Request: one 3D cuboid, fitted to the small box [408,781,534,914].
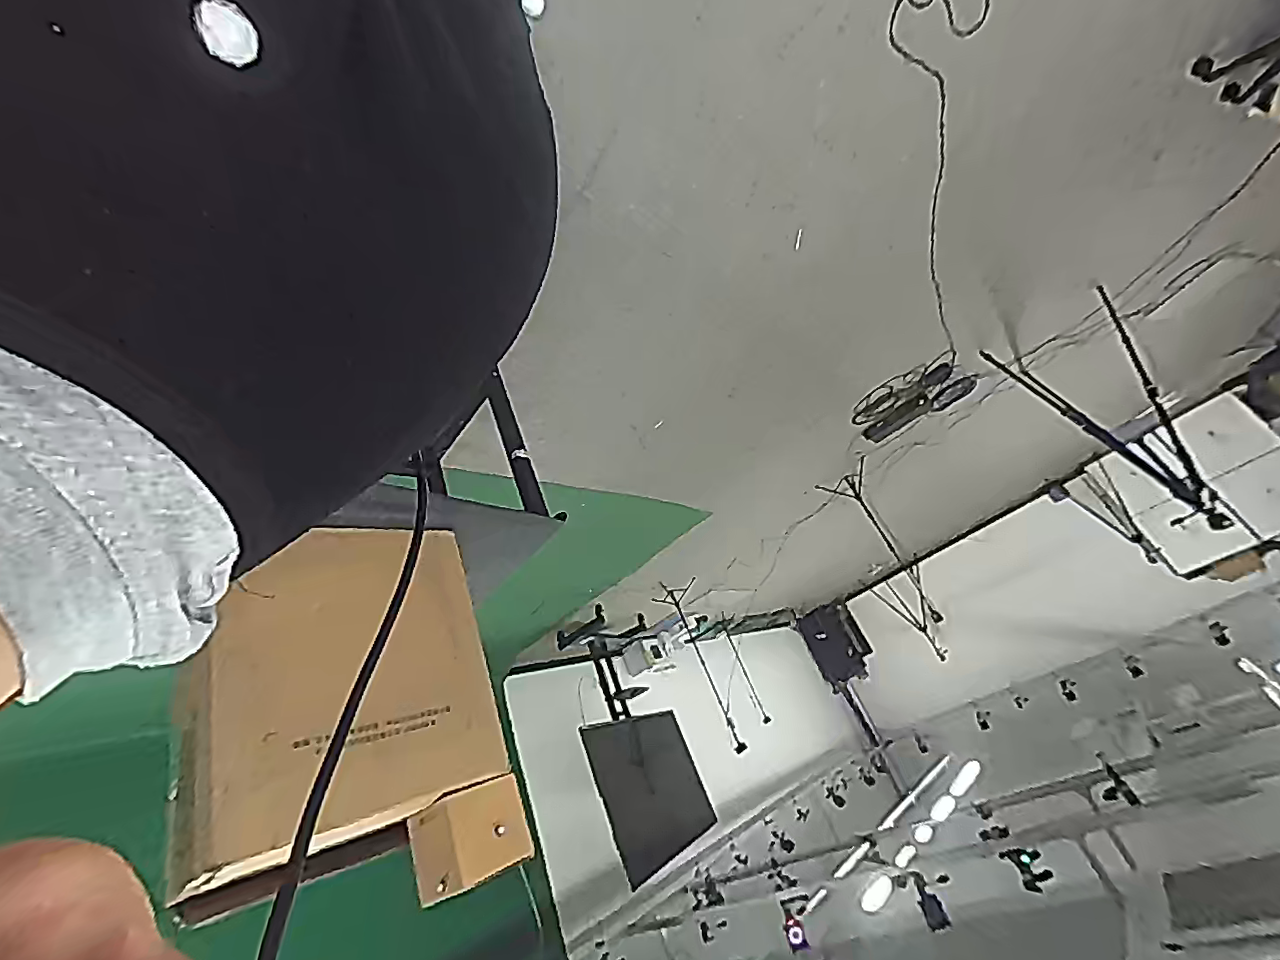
[{"bbox_3d":[-0.365,0.775,1.159,0.168,0.176,0.179,-41,151,27],"label":"small box"}]
